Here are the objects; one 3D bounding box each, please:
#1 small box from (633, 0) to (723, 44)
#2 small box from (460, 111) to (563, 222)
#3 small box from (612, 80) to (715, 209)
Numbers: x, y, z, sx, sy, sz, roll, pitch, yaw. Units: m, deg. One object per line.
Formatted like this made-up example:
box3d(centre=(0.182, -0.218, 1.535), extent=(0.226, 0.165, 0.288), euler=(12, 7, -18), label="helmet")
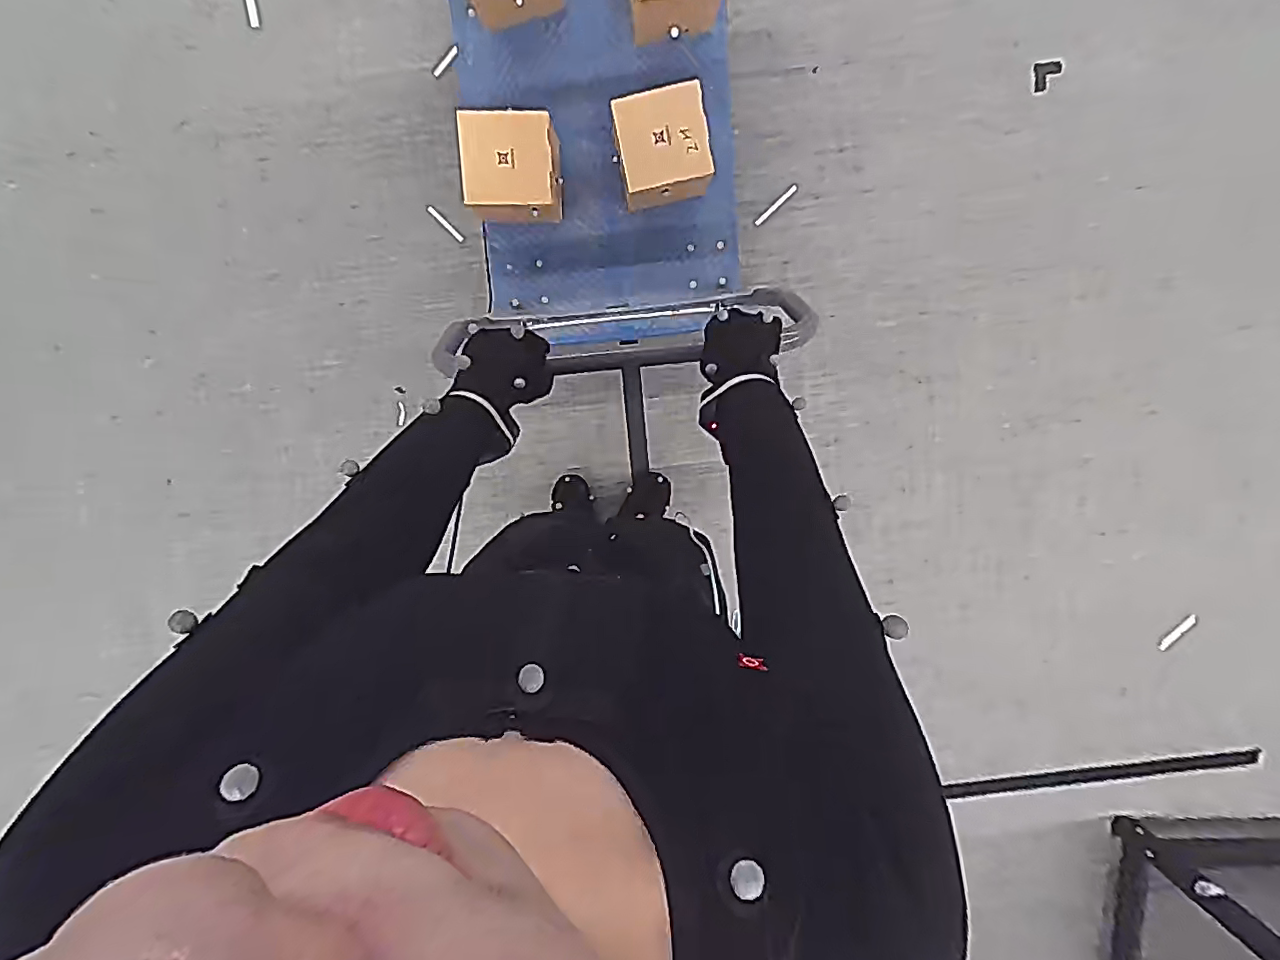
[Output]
box3d(centre=(0.065, -0.991, 1.037), extent=(0.168, 0.176, 0.179), euler=(-9, 106, 2), label="small box")
box3d(centre=(-0.259, -0.643, 1.125), extent=(0.179, 0.176, 0.168), euler=(-2, 105, -2), label="small box")
box3d(centre=(0.047, -0.680, 1.119), extent=(0.179, 0.176, 0.168), euler=(-12, 105, 3), label="small box")
